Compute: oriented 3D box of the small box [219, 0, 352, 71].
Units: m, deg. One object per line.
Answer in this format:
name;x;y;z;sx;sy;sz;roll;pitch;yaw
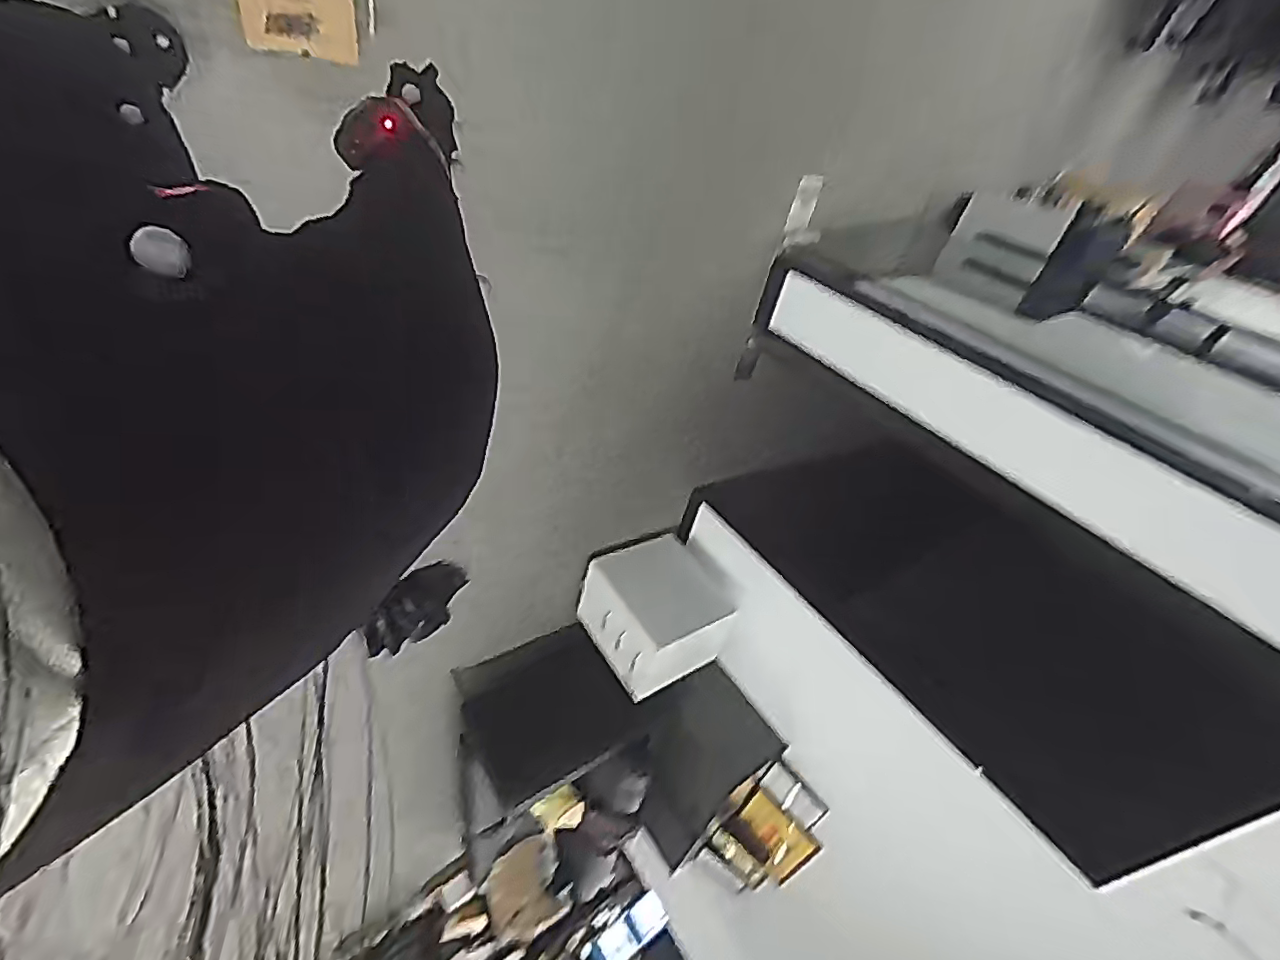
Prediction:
small box;-0.593;-0.808;0.893;0.168;0.176;0.179;-16;135;-35
